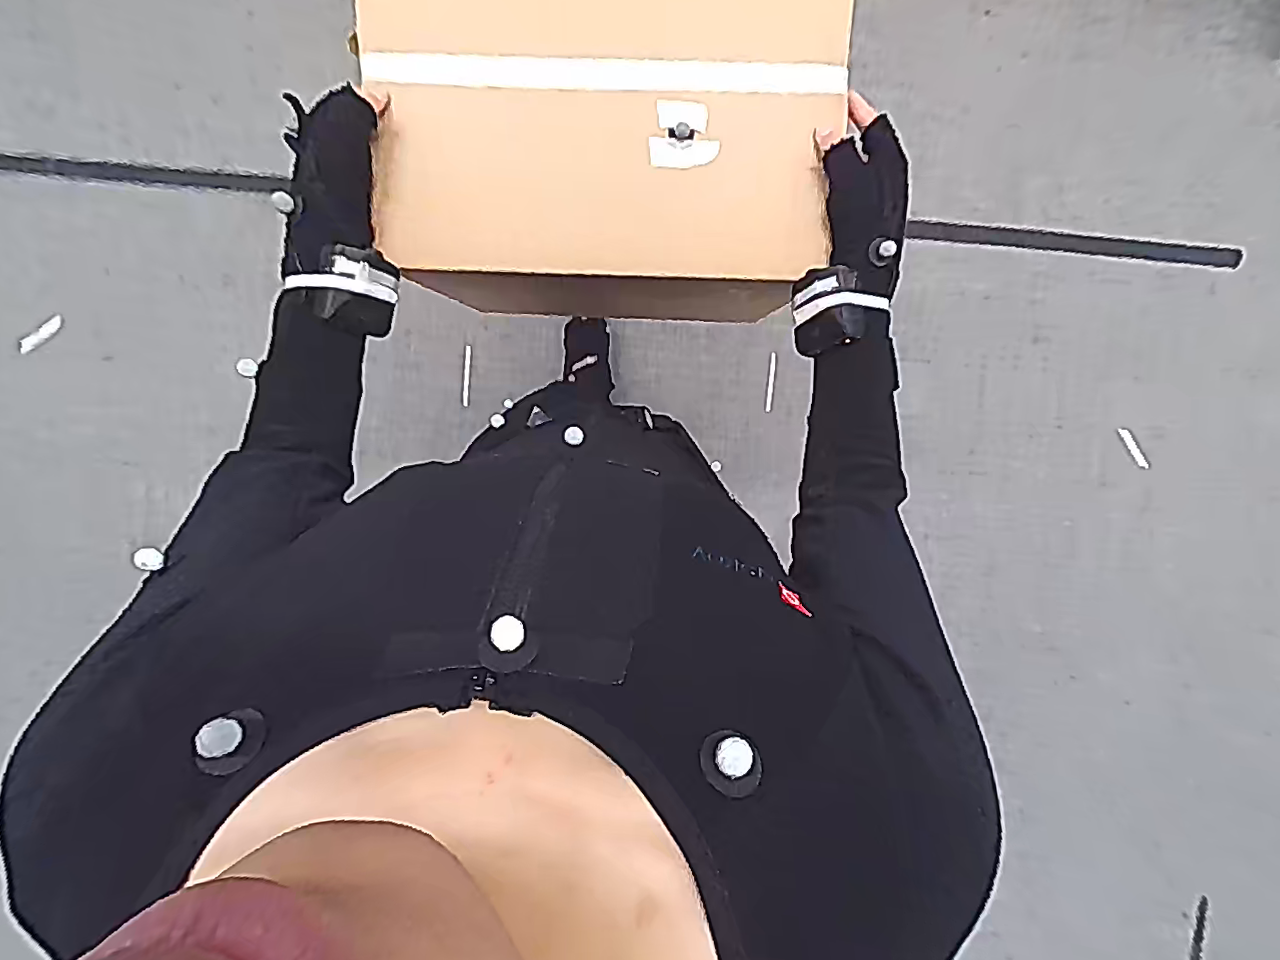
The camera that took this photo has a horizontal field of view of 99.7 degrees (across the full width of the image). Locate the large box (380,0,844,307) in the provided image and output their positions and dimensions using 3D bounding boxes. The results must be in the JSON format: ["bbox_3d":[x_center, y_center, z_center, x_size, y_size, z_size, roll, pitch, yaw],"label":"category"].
[{"bbox_3d":[-0.028,-0.379,0.617,0.408,0.320,0.320,1,101,-1],"label":"large box"}]
